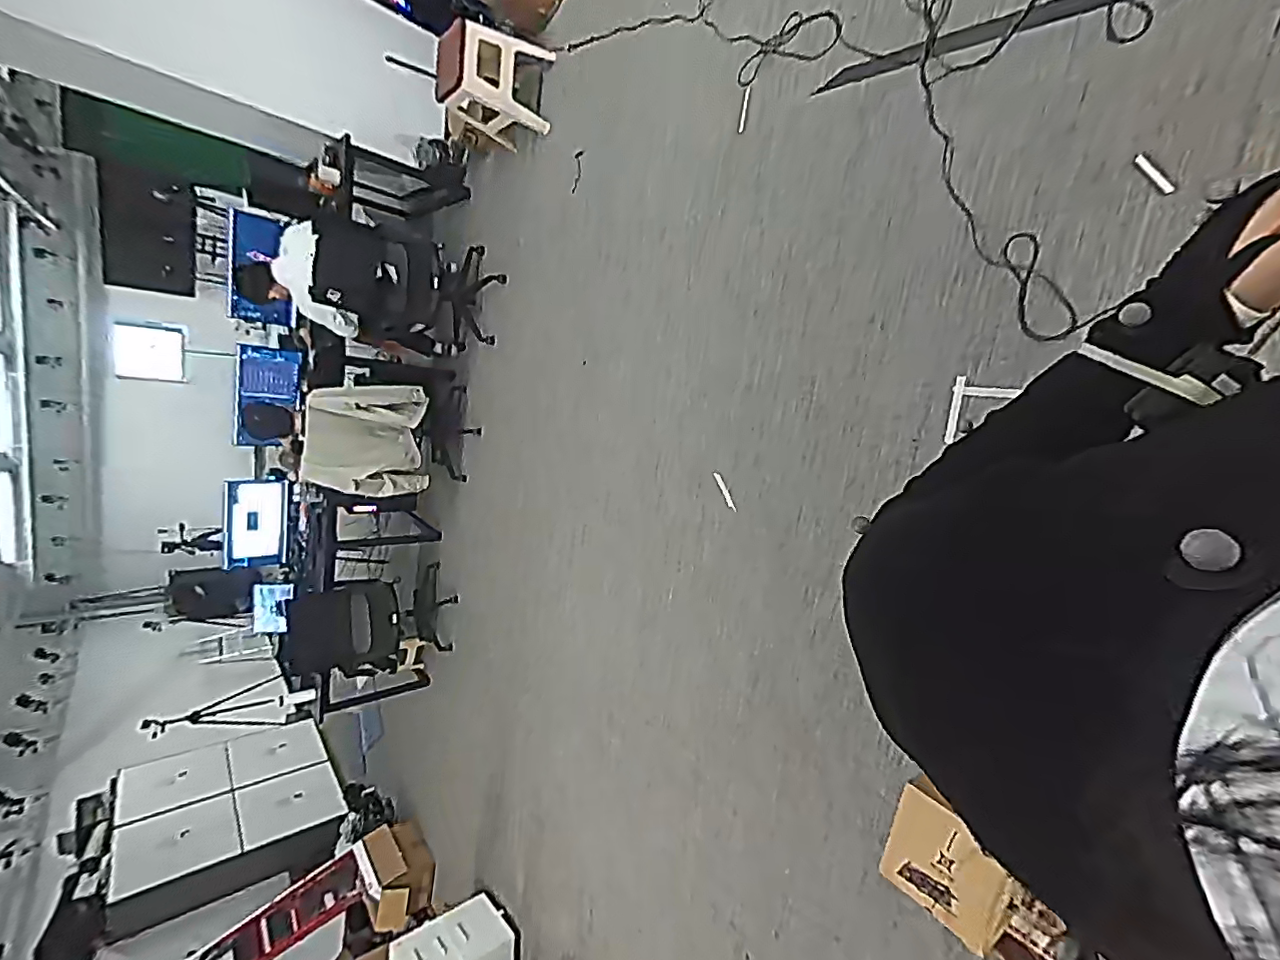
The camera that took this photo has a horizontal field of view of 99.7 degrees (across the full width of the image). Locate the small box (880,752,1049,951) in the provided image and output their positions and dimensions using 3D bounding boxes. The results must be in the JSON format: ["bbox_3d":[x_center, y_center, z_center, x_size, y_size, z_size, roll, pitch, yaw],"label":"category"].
[{"bbox_3d":[0.526,0.583,0.876,0.168,0.176,0.179,23,105,48],"label":"small box"}]
